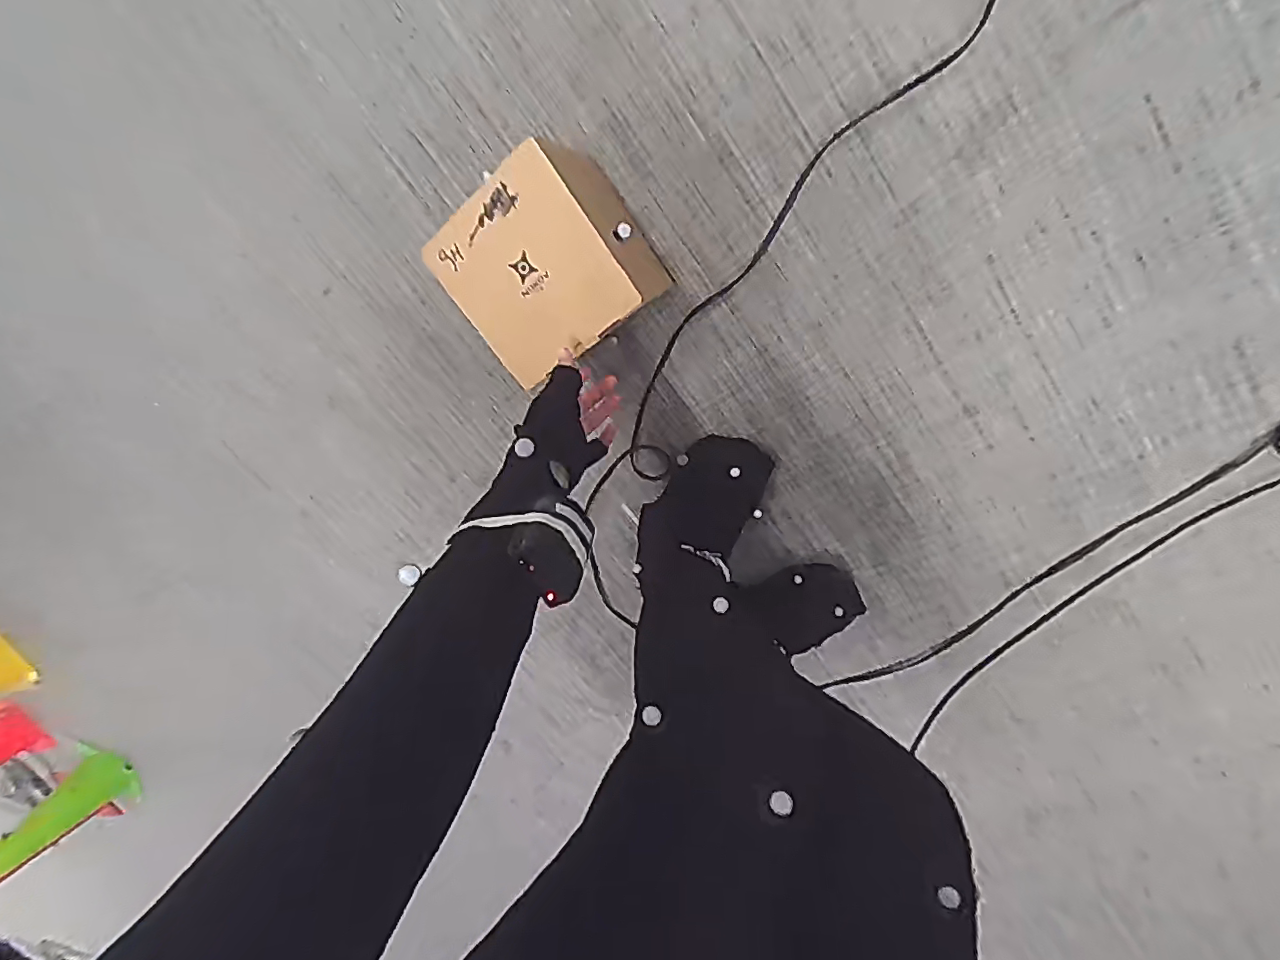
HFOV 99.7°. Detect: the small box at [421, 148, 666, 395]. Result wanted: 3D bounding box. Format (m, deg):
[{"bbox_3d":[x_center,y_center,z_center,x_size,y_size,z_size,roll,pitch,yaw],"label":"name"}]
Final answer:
[{"bbox_3d":[-0.090,-0.228,0.598,0.168,0.176,0.179,-30,105,24],"label":"small box"}]
